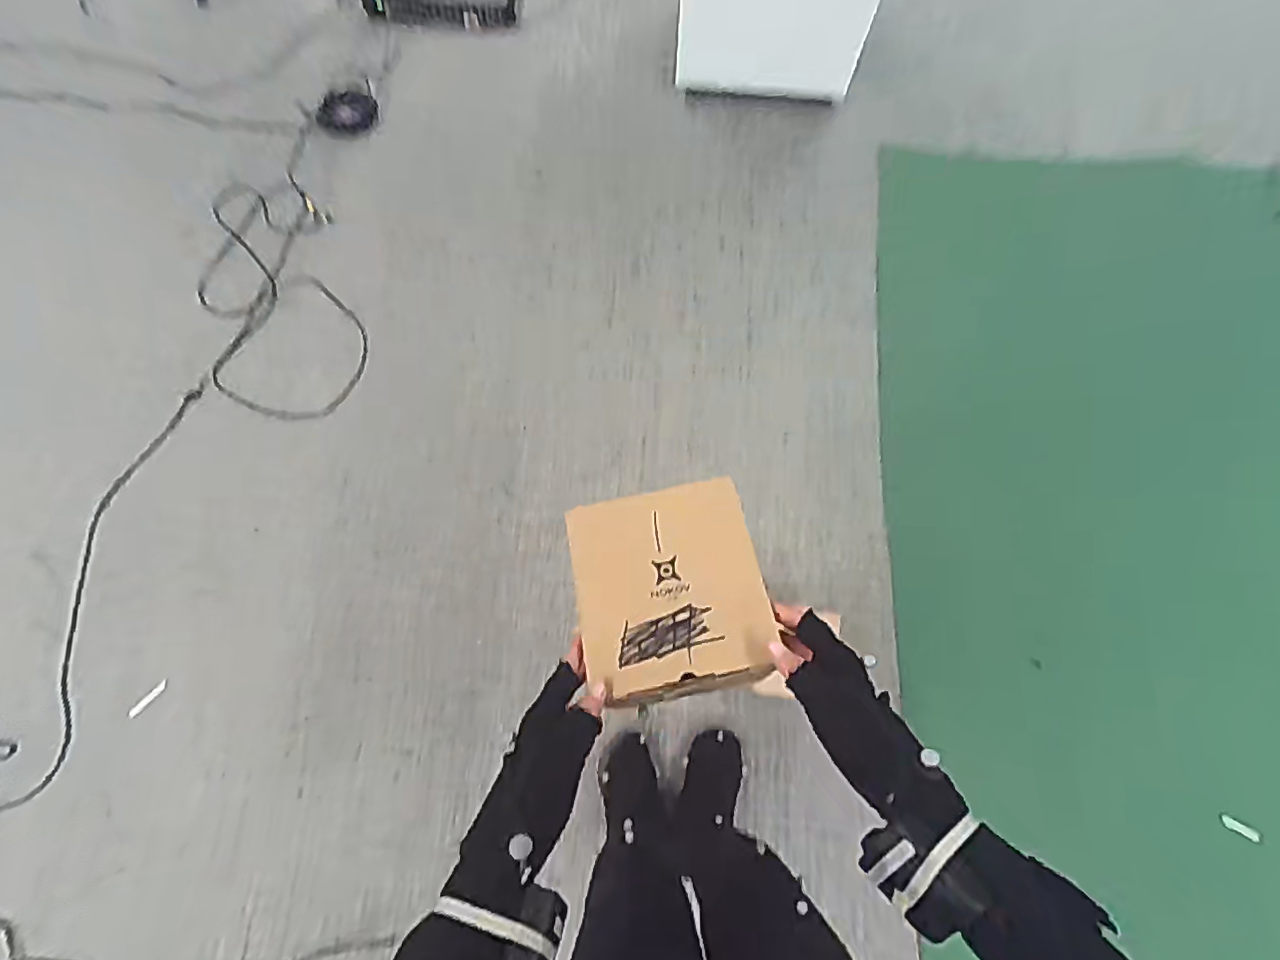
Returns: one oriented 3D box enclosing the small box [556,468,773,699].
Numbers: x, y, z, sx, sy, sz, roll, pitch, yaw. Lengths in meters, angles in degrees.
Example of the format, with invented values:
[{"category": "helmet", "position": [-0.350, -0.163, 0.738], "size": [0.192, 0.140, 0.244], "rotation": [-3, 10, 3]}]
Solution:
[{"category": "small box", "position": [0.023, 0.114, 0.542], "size": [0.168, 0.176, 0.179], "rotation": [-12, 64, 0]}]
